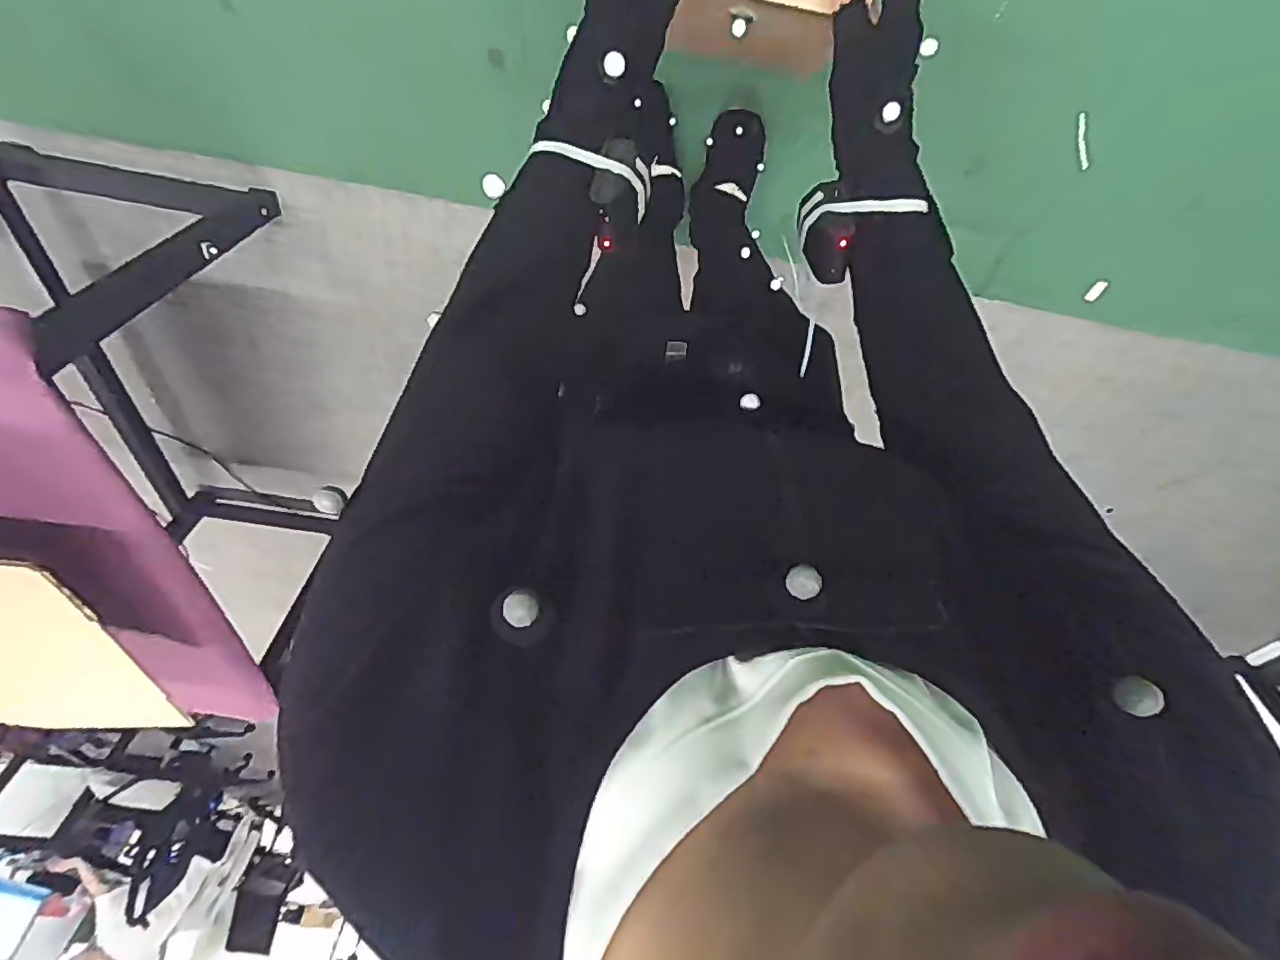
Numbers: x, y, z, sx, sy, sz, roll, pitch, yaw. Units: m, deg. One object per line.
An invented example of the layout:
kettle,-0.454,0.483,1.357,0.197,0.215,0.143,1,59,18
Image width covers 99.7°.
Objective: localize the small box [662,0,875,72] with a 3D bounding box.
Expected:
small box,0.114,-0.492,0.478,0.179,0.176,0.168,6,112,-2
